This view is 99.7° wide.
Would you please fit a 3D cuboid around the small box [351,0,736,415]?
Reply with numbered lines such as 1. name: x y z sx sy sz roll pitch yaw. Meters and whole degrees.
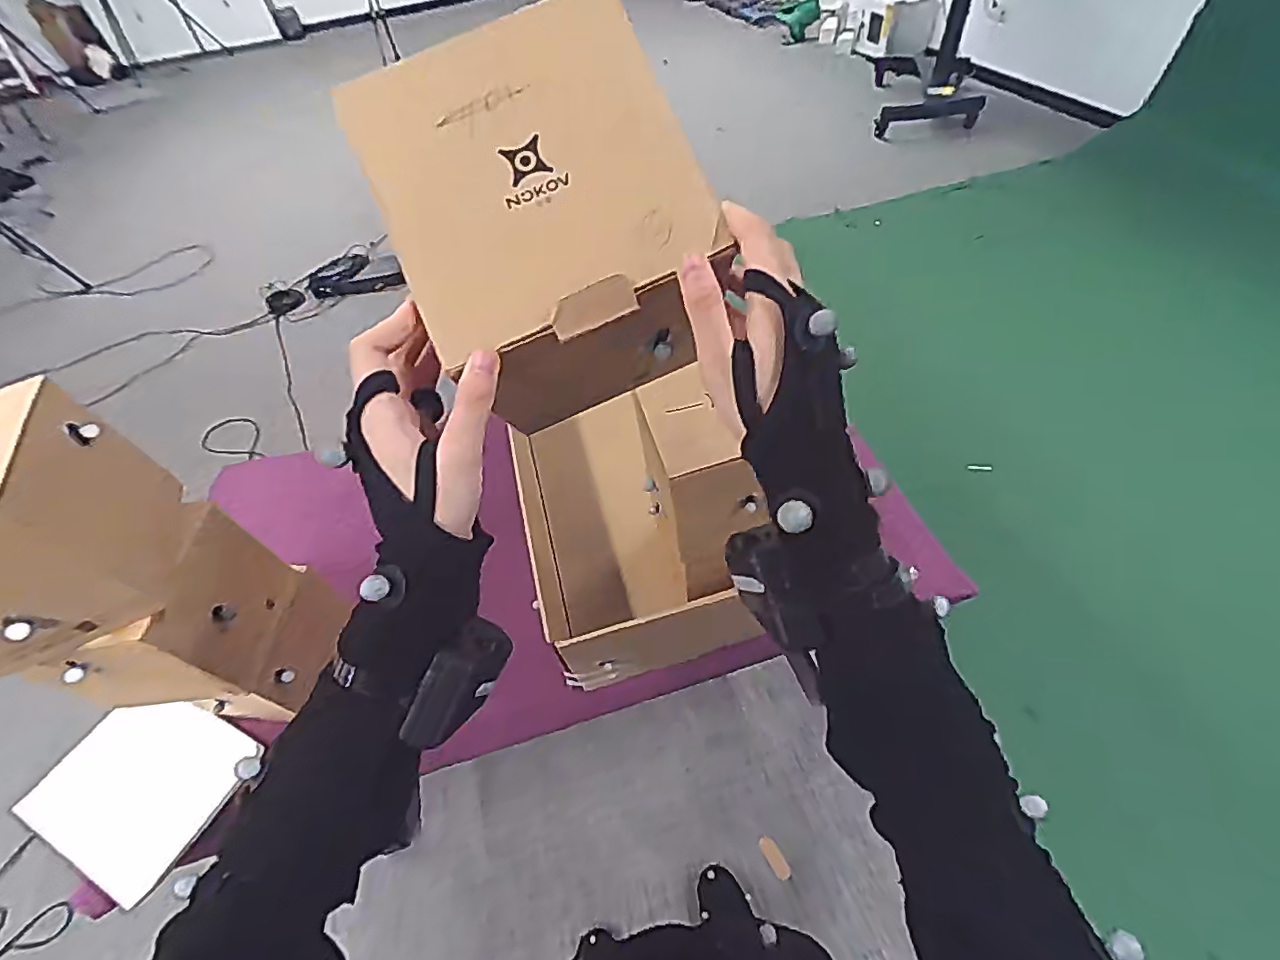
1. small box: -0.050 -0.157 0.368 0.168 0.176 0.179 -23 82 0

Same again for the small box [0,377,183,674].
1. small box: -0.566 0.043 0.493 0.168 0.176 0.179 -24 53 -11

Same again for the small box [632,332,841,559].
1. small box: 0.099 -0.035 0.619 0.179 0.176 0.168 -16 51 -3

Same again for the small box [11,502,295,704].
1. small box: -0.544 0.145 0.621 0.179 0.176 0.168 -6 51 2
